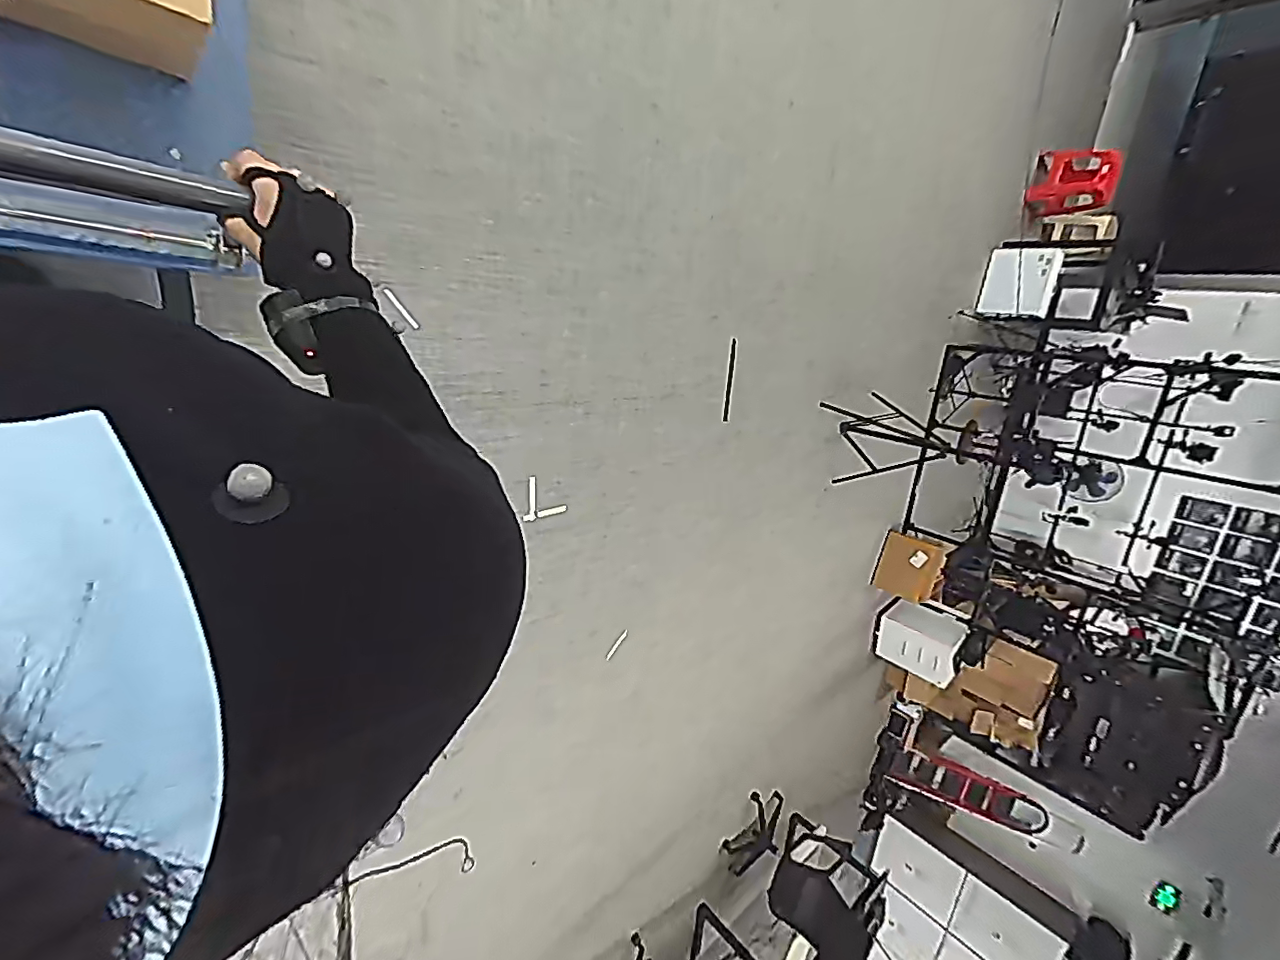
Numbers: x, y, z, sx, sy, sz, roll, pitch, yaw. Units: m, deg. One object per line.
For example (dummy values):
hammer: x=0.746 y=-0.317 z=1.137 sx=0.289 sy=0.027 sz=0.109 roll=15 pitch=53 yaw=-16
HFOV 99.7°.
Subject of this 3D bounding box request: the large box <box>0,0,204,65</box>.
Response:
large box: x=-0.795 y=-0.782 z=0.642 sx=0.408 sy=0.320 sz=0.320 roll=-5 pitch=109 yaw=-42
